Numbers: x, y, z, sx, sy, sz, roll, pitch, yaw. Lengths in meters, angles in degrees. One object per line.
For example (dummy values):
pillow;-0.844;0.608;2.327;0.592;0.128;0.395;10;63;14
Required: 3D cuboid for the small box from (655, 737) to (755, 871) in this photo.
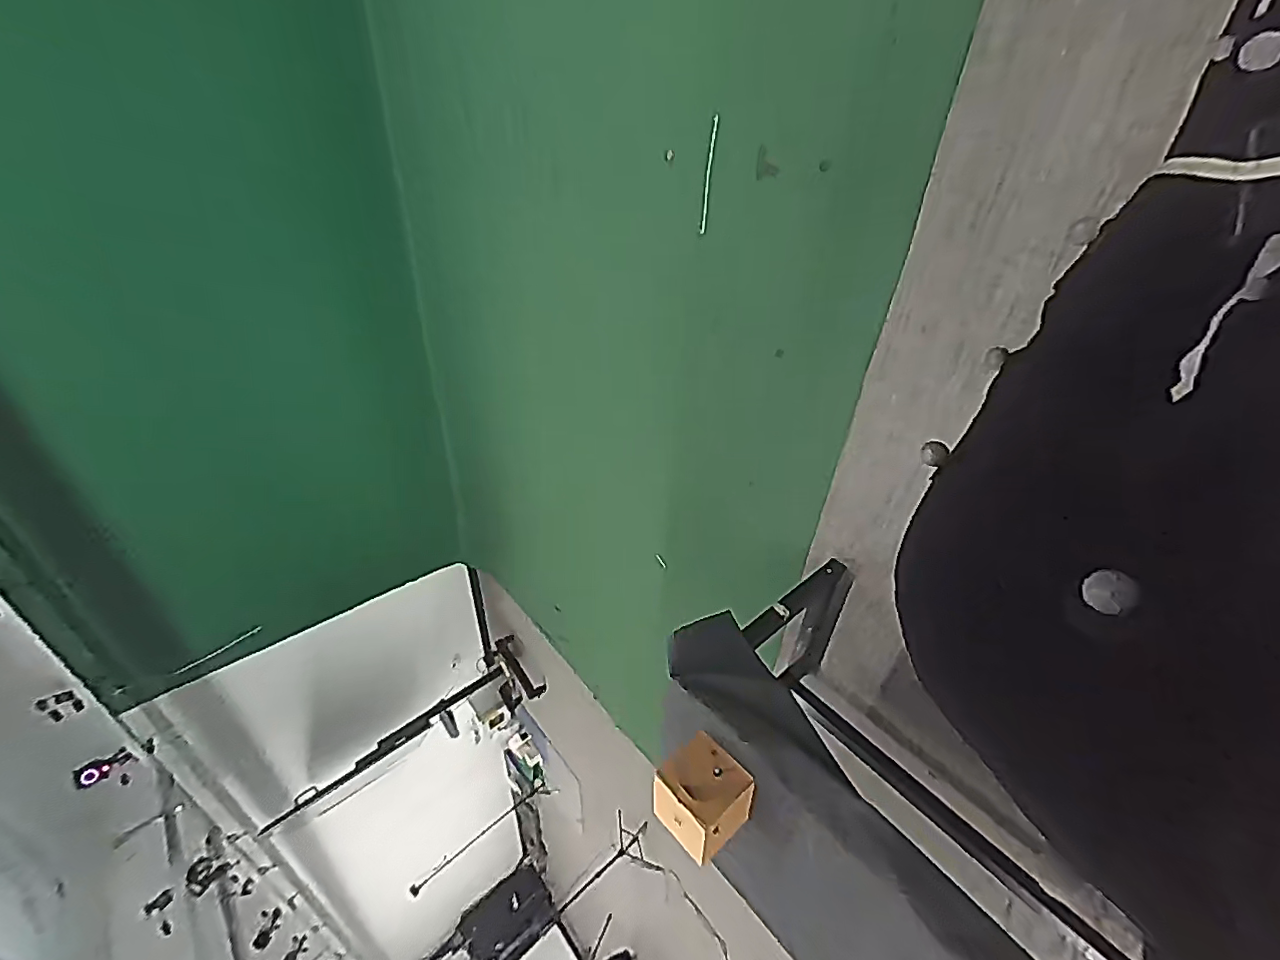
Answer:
small box;0.152;0.757;1.276;0.168;0.176;0.179;31;133;40
